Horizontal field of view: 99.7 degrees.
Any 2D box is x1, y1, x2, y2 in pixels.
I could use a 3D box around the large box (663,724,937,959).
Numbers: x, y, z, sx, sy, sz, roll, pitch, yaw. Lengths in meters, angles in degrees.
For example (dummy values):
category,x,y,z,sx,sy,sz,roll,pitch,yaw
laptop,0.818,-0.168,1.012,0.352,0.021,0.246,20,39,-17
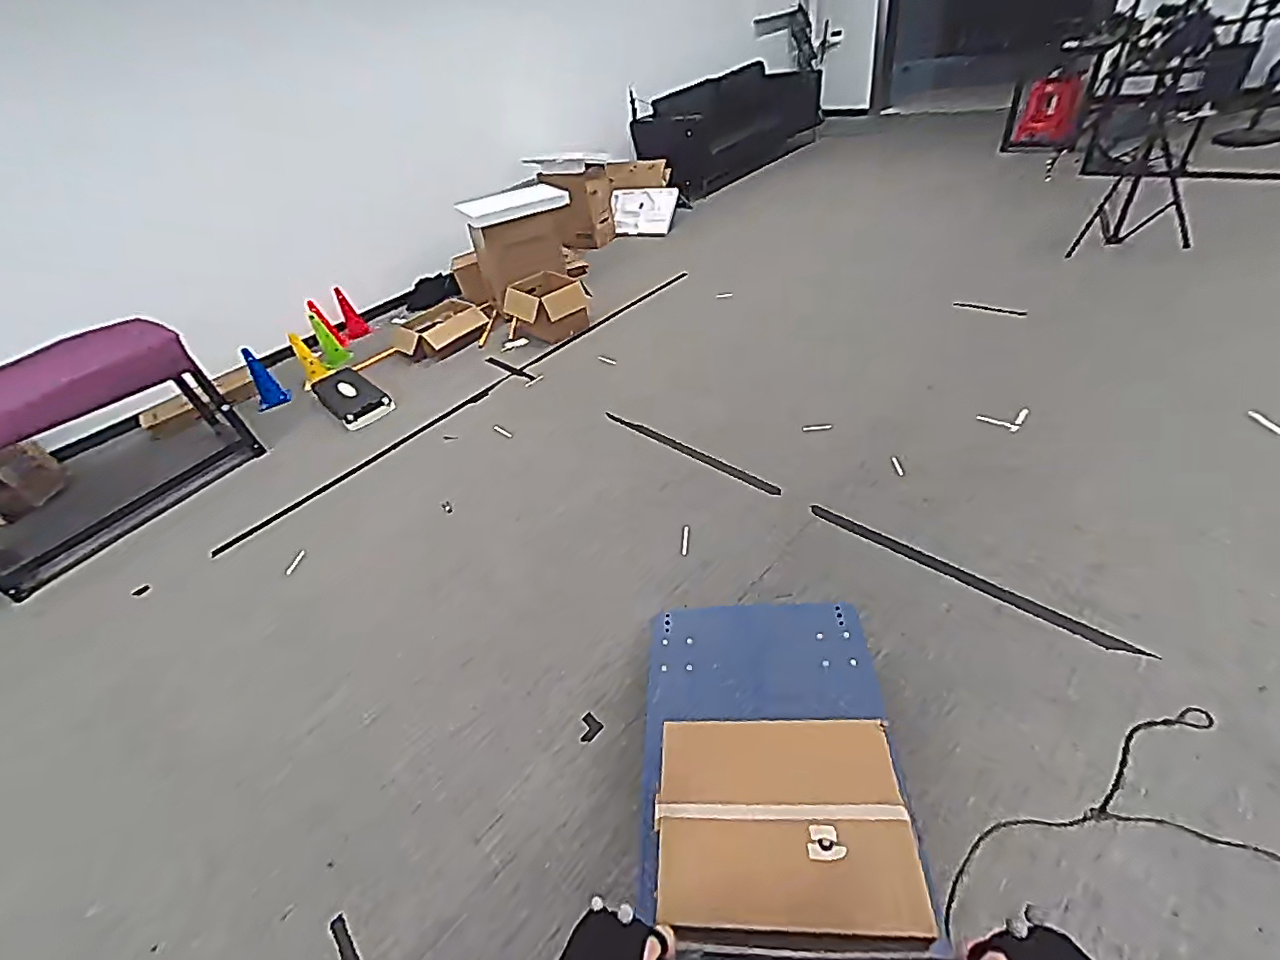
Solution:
category,x,y,z,sx,sy,sz,roll,pitch,yaw
large box,0.257,0.677,1.001,0.408,0.320,0.320,-4,41,8
